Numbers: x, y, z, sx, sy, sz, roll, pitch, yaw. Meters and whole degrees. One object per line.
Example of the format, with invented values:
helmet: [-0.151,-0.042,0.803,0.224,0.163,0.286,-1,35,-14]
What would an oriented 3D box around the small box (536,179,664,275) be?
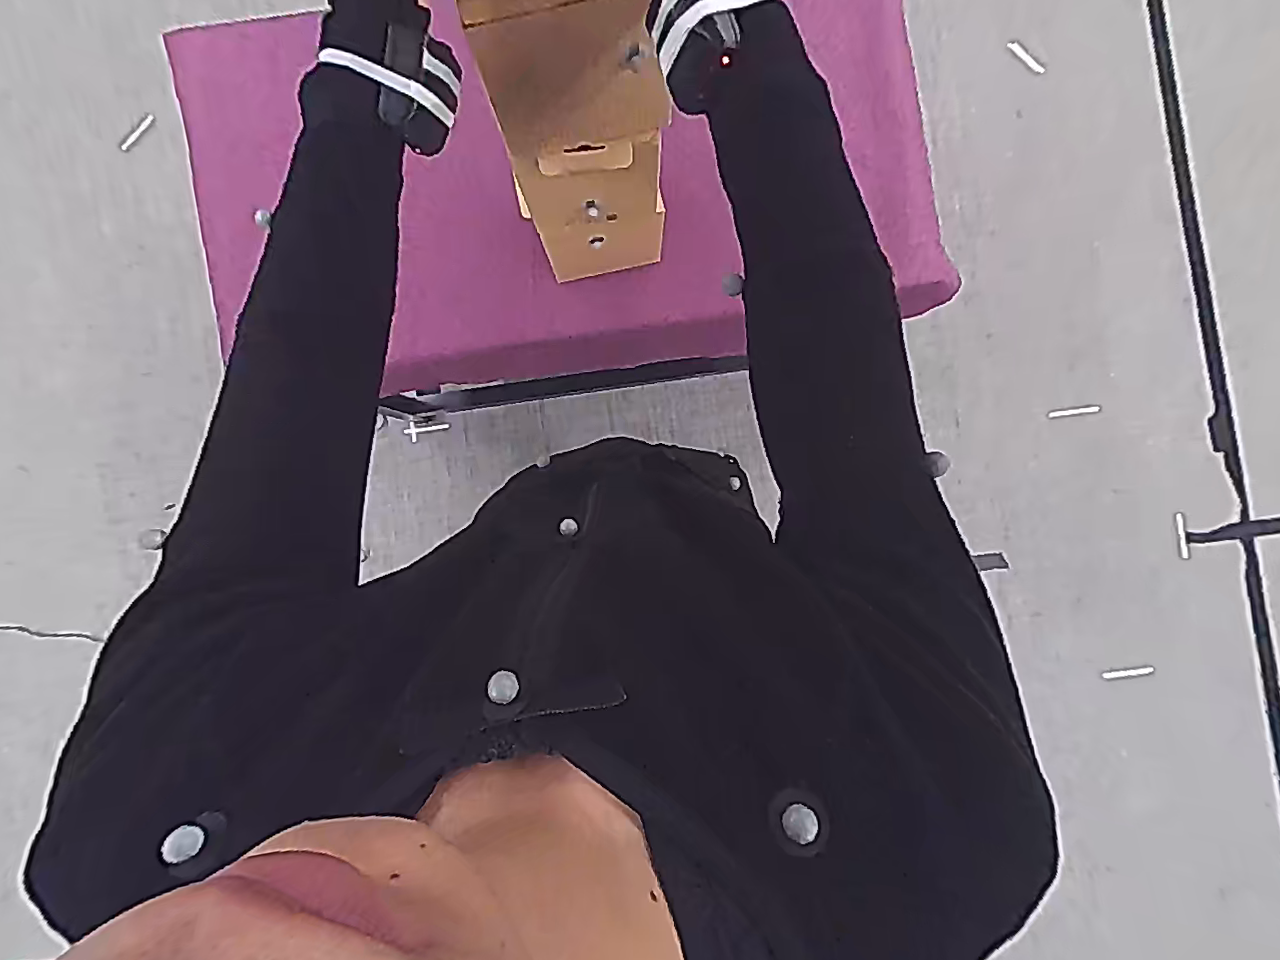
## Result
small box: [-0.066,-0.429,0.813,0.179,0.176,0.168,-12,90,-1]

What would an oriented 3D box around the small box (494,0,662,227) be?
small box: [-0.067,-0.435,0.649,0.168,0.176,0.179,-6,89,0]
